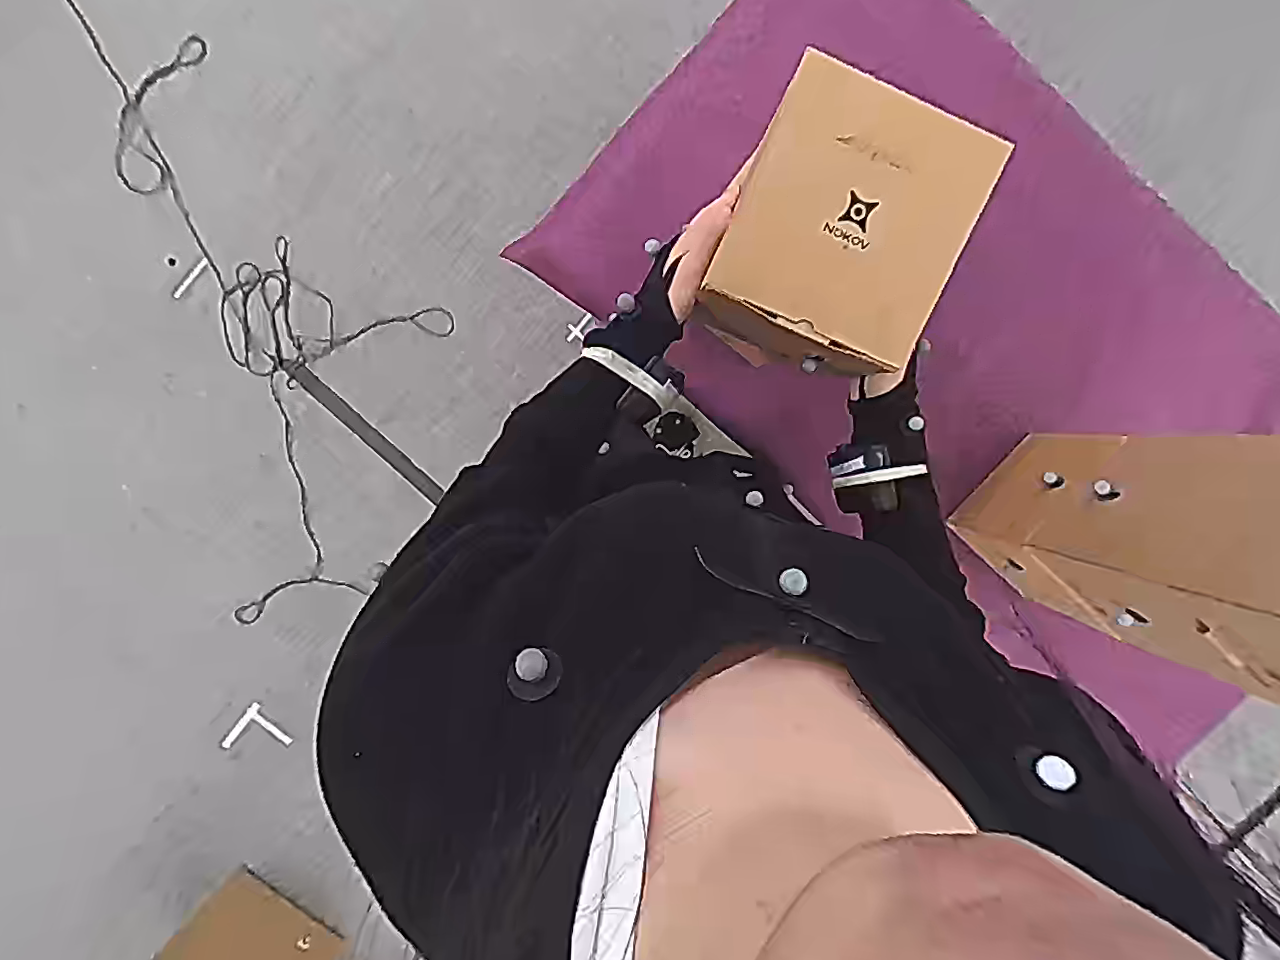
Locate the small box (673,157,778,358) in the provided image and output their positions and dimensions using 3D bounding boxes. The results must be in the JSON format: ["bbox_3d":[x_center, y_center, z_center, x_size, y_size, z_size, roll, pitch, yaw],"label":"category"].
[{"bbox_3d":[0.154,-0.272,0.667,0.168,0.176,0.179,38,94,-4],"label":"small box"}]

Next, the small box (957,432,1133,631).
[{"bbox_3d":[0.556,0.056,0.703,0.168,0.176,0.179,42,94,-3],"label":"small box"}]

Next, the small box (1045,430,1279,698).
[{"bbox_3d":[0.559,0.068,0.540,0.168,0.176,0.179,43,94,-4],"label":"small box"}]

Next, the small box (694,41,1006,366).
[{"bbox_3d":[0.154,-0.209,0.470,0.168,0.176,0.179,22,98,-4],"label":"small box"}]
